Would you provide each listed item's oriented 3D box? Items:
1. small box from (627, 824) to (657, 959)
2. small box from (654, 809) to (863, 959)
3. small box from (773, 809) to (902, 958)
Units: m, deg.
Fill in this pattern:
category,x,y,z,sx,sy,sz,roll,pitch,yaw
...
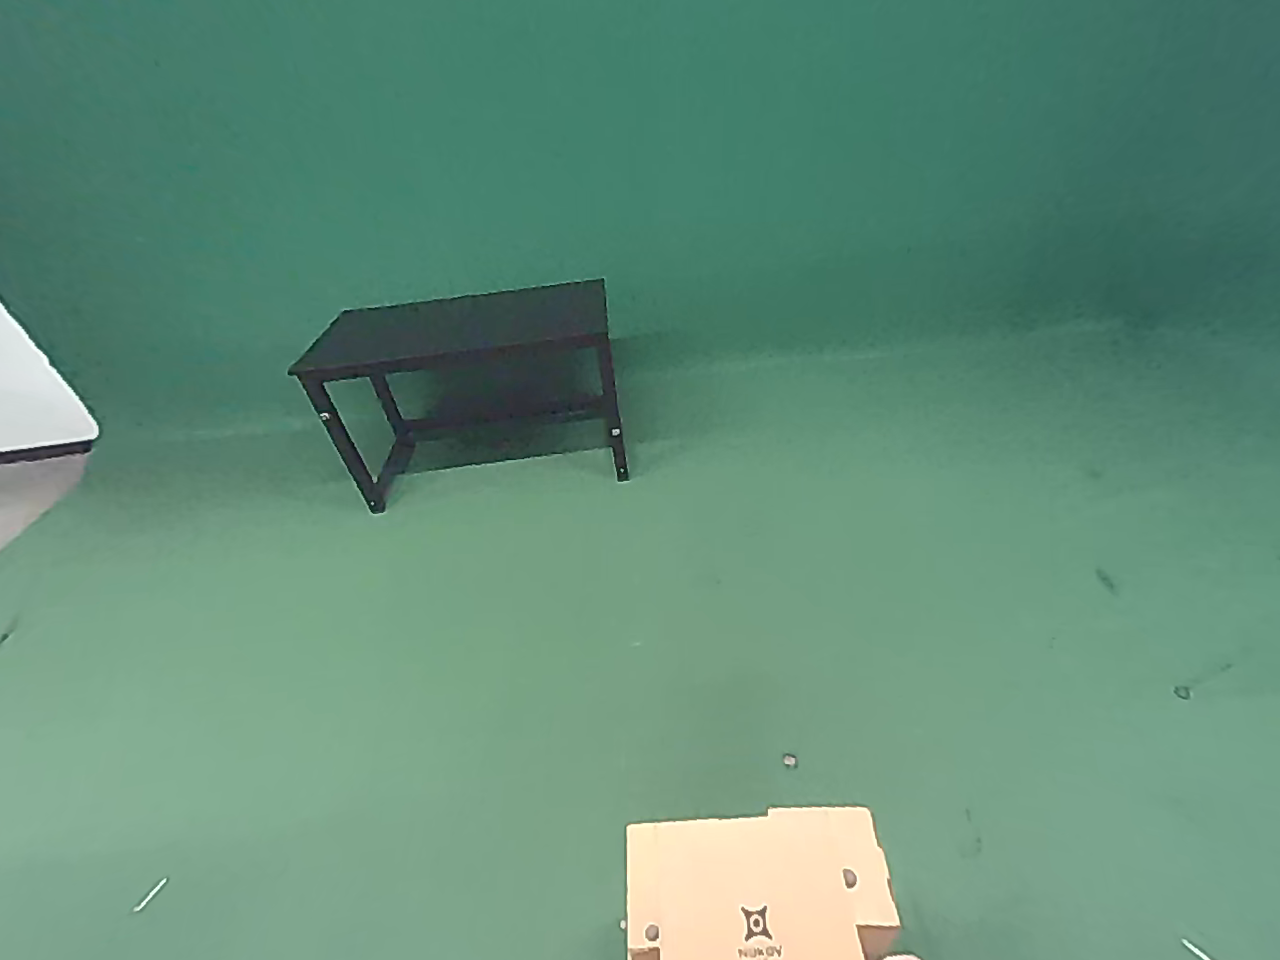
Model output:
category,x,y,z,sx,sy,sz,roll,pitch,yaw
small box,0.067,0.712,0.921,0.168,0.176,0.179,-5,38,2
small box,0.104,0.428,0.495,0.168,0.176,0.179,-7,44,5
small box,0.314,0.681,0.914,0.179,0.176,0.168,-3,37,6
